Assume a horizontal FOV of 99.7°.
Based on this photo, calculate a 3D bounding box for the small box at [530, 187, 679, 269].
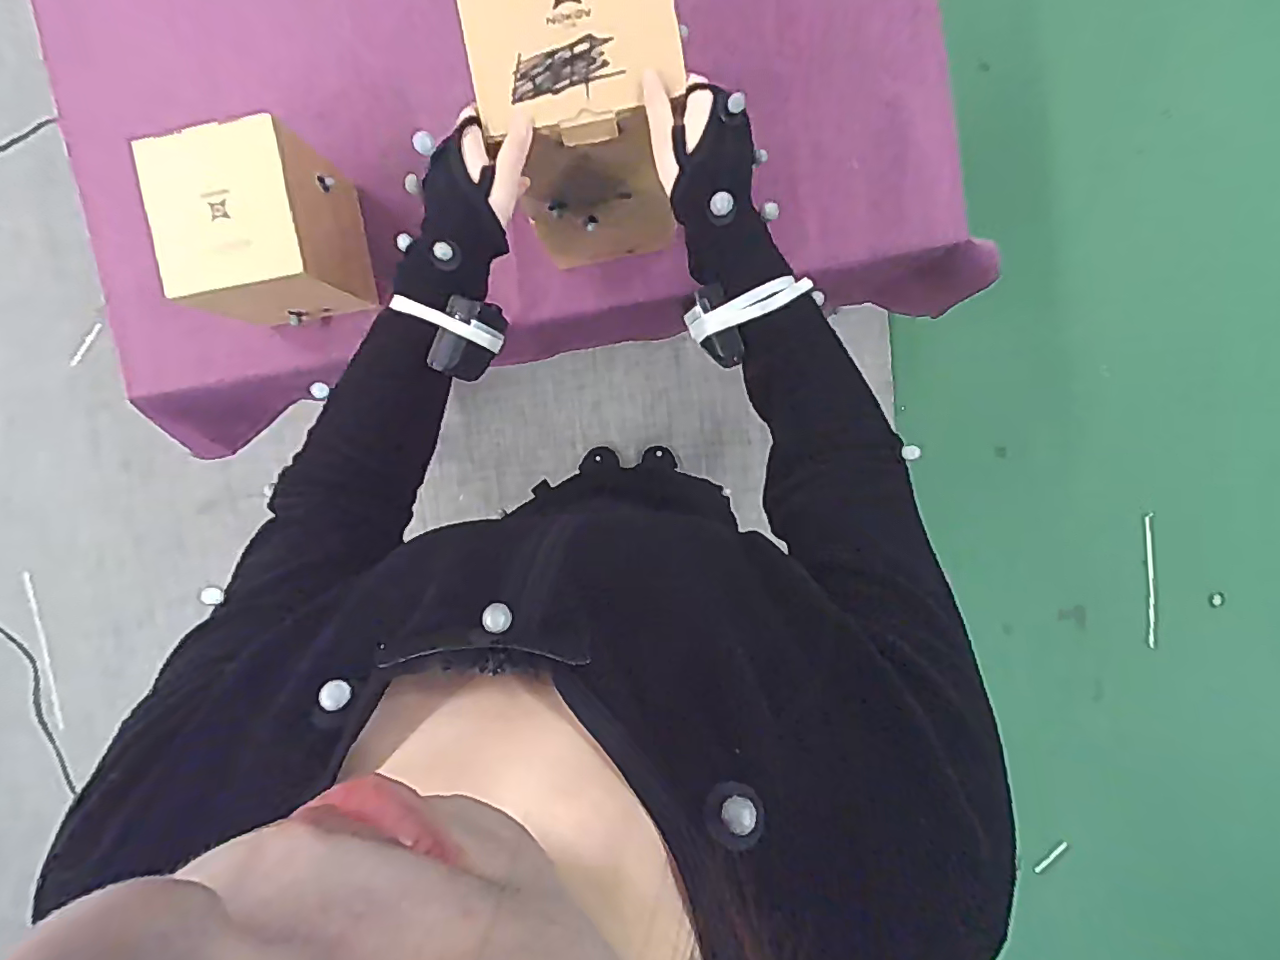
[{"bbox_3d":[-0.047,-0.383,0.663,0.168,0.176,0.179,-9,94,4],"label":"small box"}]

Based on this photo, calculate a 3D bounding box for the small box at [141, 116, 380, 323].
[{"bbox_3d":[-0.460,-0.312,0.683,0.168,0.176,0.179,-8,95,3],"label":"small box"}]

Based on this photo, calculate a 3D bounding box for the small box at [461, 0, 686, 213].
[{"bbox_3d":[-0.052,-0.370,0.499,0.168,0.176,0.179,-10,94,3],"label":"small box"}]
